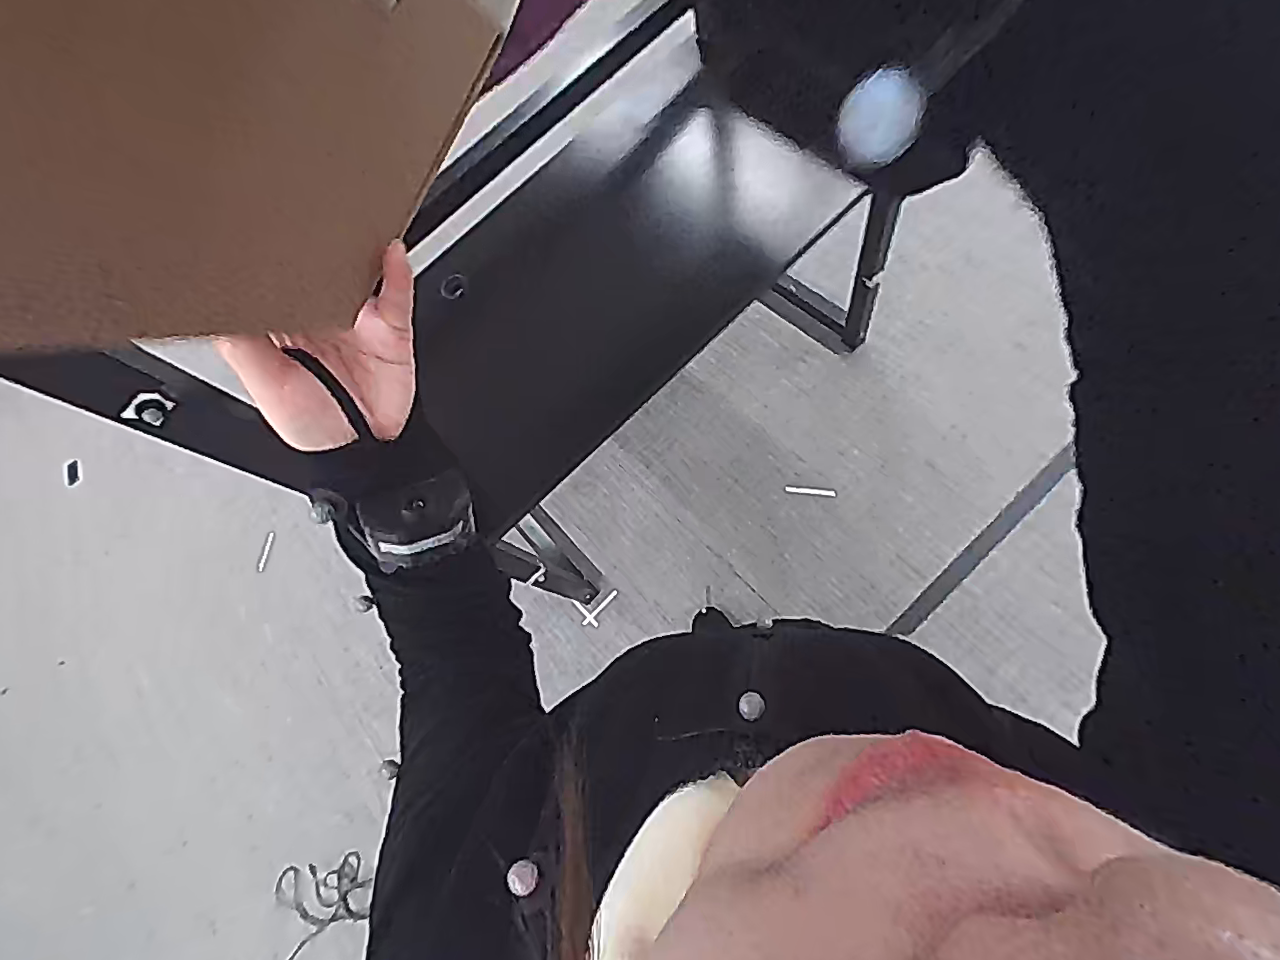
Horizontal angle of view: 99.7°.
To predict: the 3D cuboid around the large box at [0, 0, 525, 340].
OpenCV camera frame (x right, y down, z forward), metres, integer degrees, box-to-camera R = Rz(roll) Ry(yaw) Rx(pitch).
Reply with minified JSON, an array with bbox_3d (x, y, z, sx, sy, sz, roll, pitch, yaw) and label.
[{"bbox_3d":[-0.210,-0.248,0.046,0.408,0.320,0.320,33,104,-7],"label":"large box"}]
